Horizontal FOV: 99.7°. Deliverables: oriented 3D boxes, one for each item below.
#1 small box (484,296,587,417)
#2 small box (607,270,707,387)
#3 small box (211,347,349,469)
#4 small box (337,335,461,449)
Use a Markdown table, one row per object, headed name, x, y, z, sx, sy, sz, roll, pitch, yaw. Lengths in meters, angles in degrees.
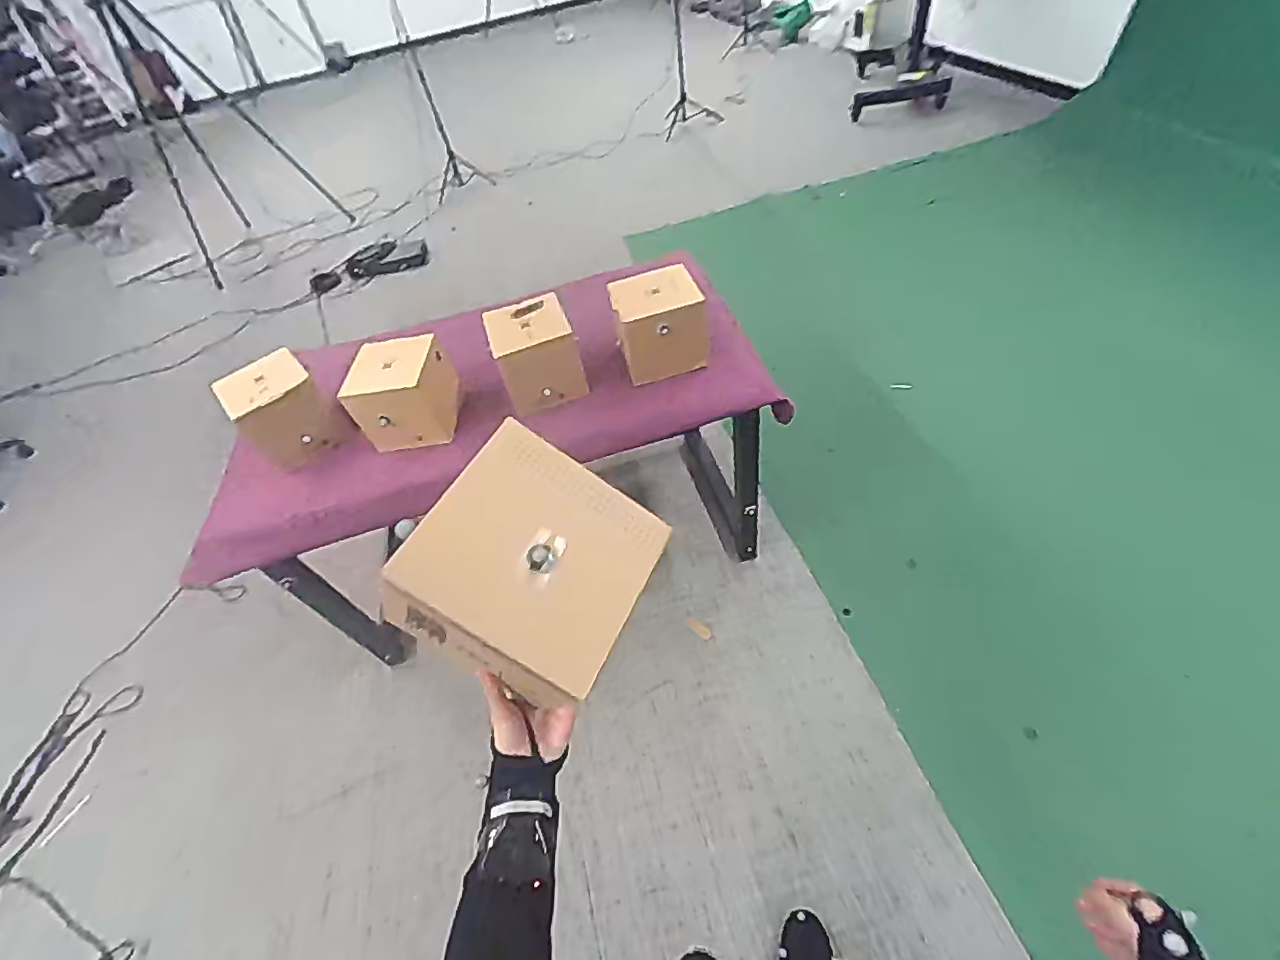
| name | x | y | z | sx | sy | sz | roll | pitch | yaw |
| --- | --- | --- | --- | --- | --- | --- | --- | --- | --- |
| small box | -0.226 | -0.268 | 1.181 | 0.168 | 0.176 | 0.179 | -19 | 50 | -6 |
| small box | 0.039 | -0.327 | 1.183 | 0.179 | 0.176 | 0.168 | -15 | 48 | -3 |
| small box | -0.779 | -0.155 | 1.180 | 0.168 | 0.176 | 0.179 | -38 | 55 | -21 |
| small box | -0.503 | -0.181 | 1.159 | 0.168 | 0.176 | 0.179 | -7 | 48 | 5 |
